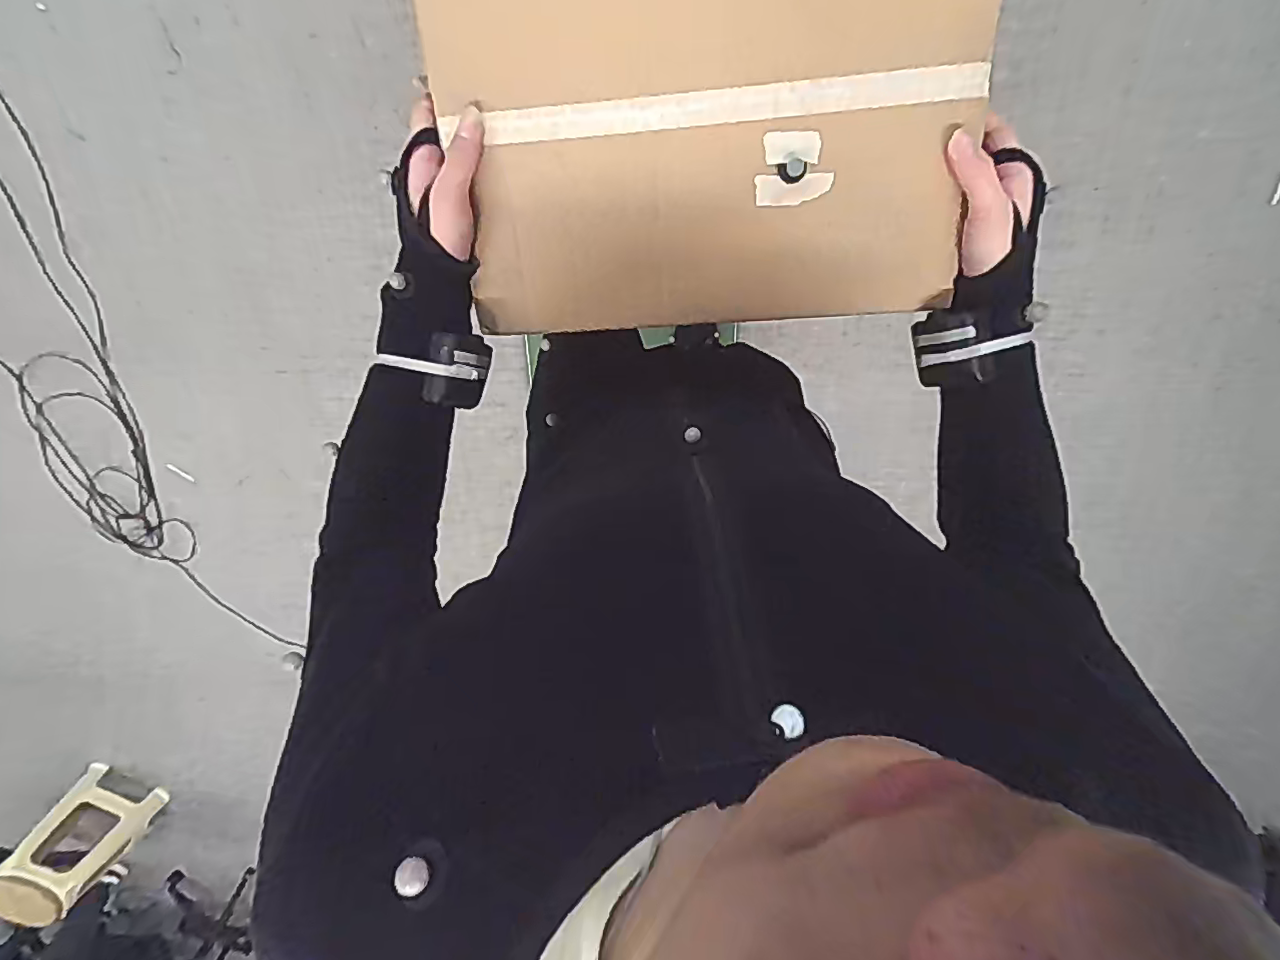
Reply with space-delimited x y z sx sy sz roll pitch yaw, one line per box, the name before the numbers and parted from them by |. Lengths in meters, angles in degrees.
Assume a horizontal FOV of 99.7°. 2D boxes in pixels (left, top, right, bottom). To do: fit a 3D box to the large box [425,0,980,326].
large box | 0.052 -0.352 0.550 0.408 0.320 0.320 -3 115 4
